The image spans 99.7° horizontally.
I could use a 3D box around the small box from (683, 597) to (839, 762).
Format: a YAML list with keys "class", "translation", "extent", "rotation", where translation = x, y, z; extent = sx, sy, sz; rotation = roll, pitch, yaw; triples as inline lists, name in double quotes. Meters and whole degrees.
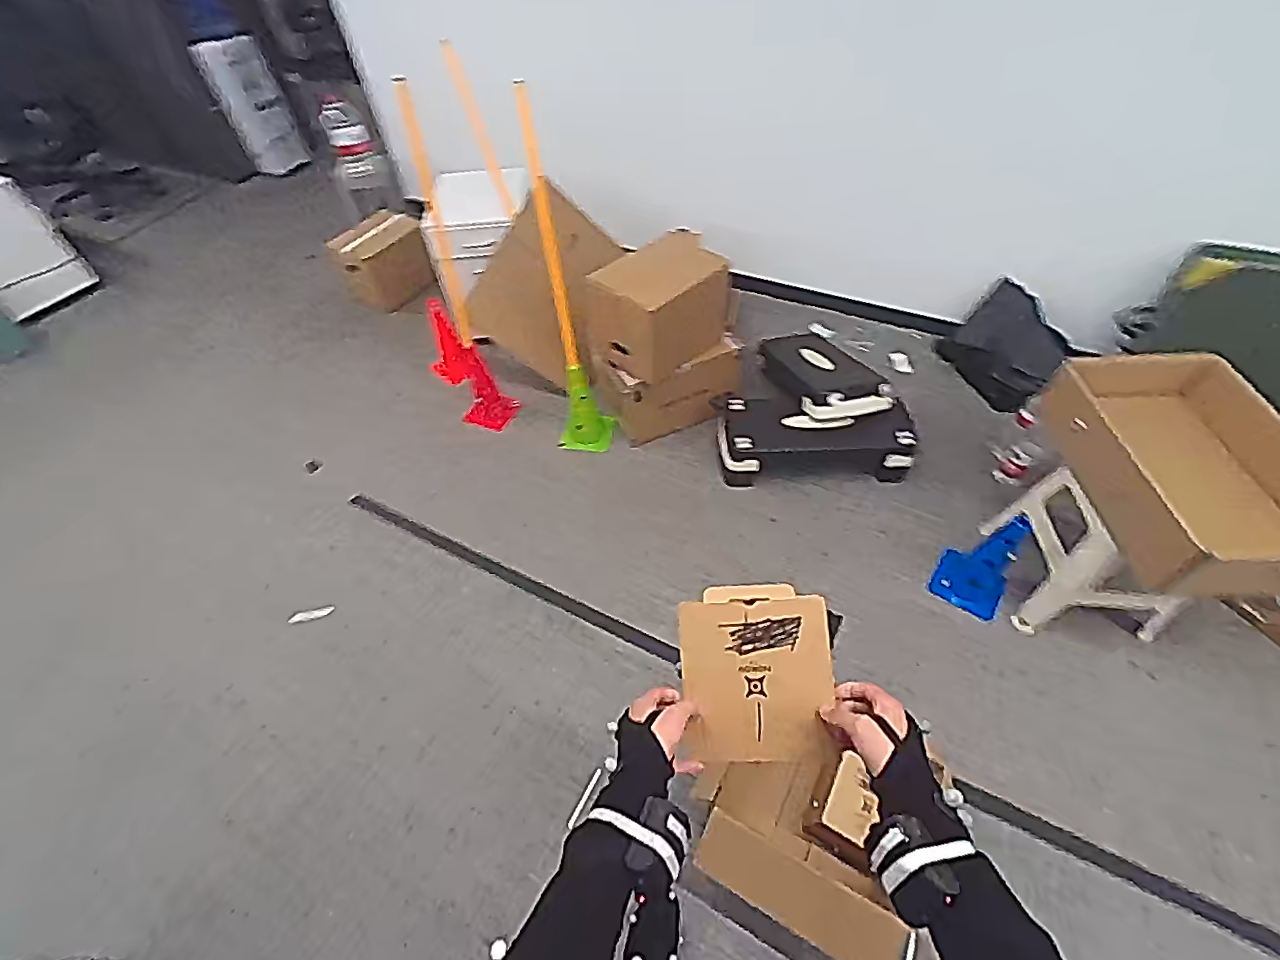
- class: "small box"
  translation: [0.144, 0.250, 0.690]
  extent: [0.168, 0.176, 0.179]
  rotation: [-5, 71, 9]
